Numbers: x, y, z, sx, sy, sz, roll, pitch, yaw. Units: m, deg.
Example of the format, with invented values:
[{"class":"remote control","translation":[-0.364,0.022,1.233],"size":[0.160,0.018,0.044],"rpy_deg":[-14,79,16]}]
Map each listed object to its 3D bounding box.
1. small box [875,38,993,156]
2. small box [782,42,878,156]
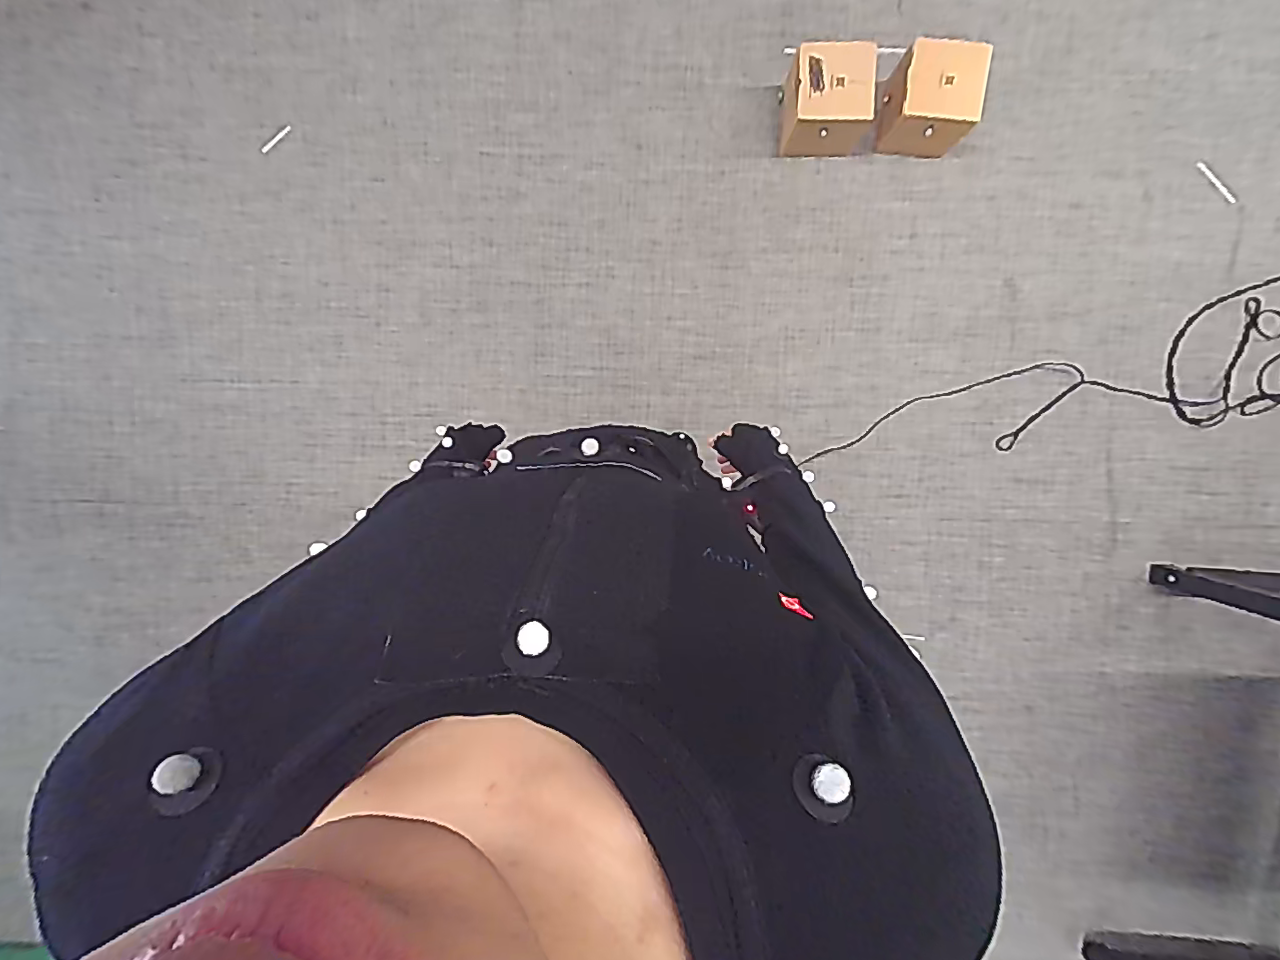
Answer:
[{"class":"small box","translation":[0.688,-0.897,1.283],"size":[0.179,0.176,0.168],"rpy_deg":[6,96,2]},{"class":"small box","translation":[0.443,-0.899,1.290],"size":[0.179,0.176,0.168],"rpy_deg":[1,96,1]}]
